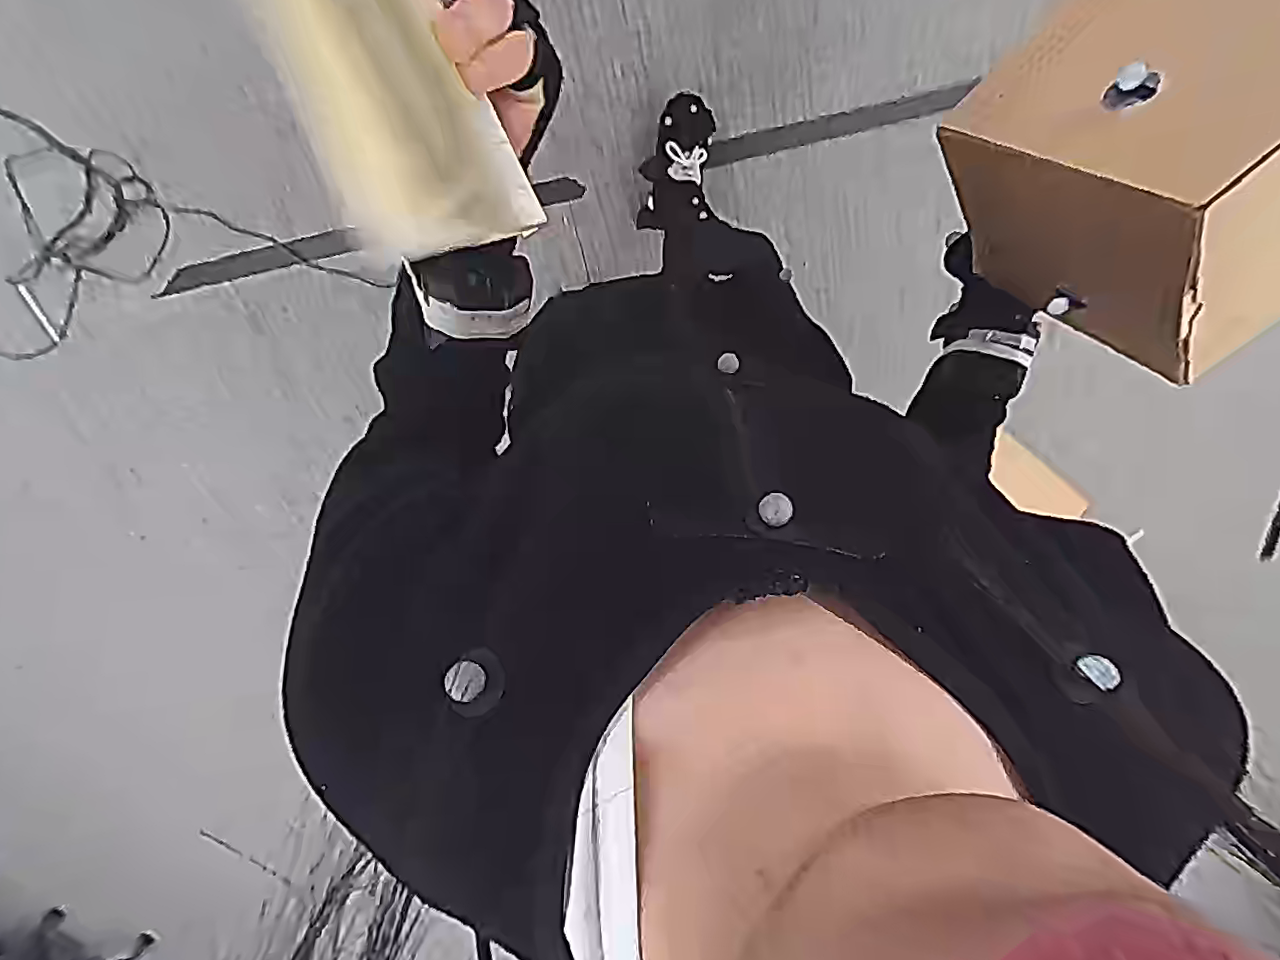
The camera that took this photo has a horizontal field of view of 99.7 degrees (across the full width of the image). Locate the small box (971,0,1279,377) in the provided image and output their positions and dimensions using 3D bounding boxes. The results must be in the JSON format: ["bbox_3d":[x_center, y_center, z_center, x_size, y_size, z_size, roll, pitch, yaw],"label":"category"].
[{"bbox_3d":[0.329,-0.201,0.314,0.179,0.176,0.168,-45,136,17],"label":"small box"}]
